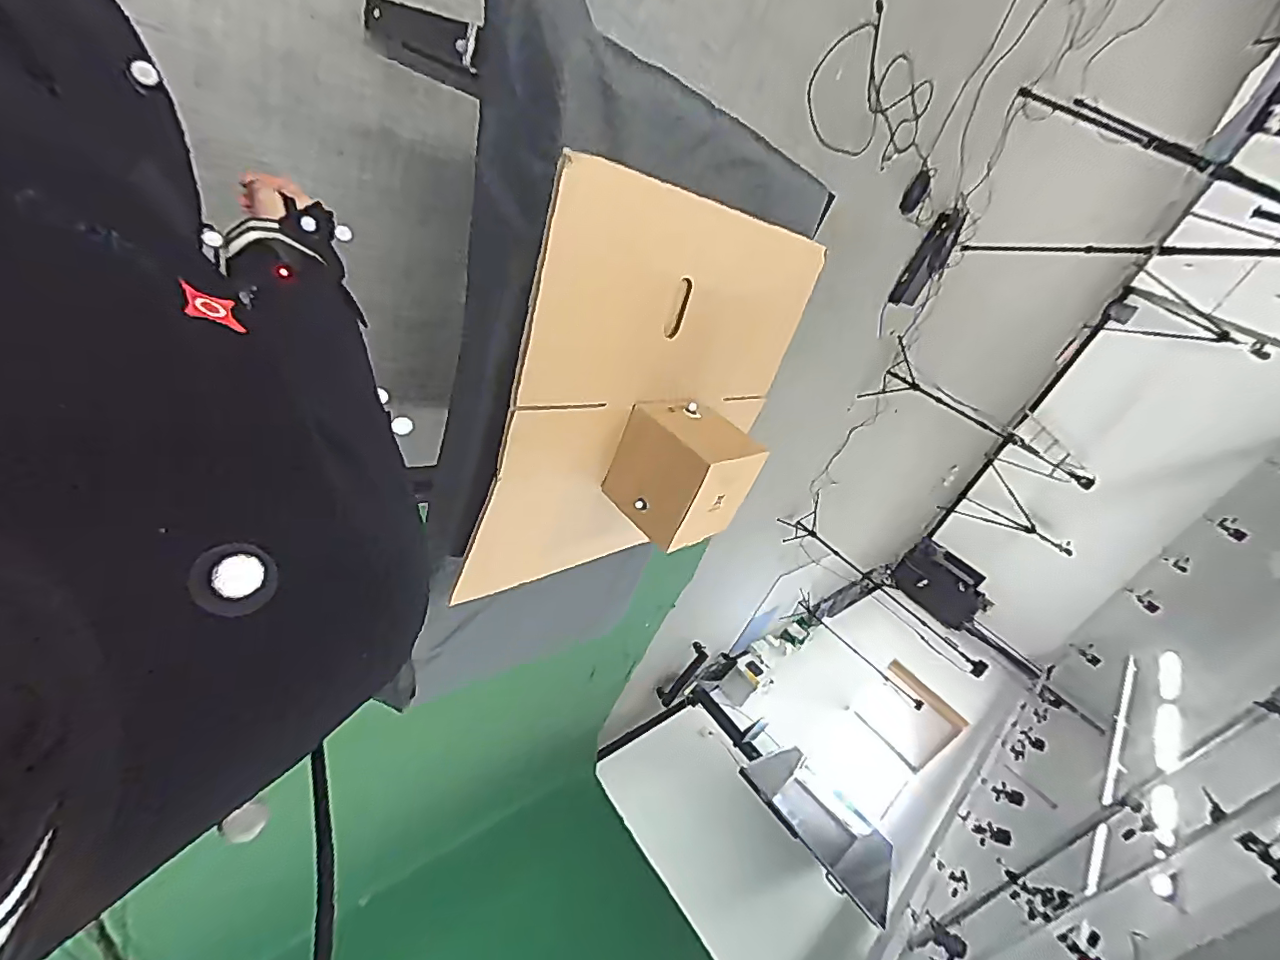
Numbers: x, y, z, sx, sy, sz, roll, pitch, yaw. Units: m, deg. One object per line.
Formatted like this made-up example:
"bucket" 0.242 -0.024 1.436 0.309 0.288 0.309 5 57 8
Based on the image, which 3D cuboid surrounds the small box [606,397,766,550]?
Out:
"small box" 0.068 -0.018 0.891 0.168 0.176 0.179 -14 136 -46
